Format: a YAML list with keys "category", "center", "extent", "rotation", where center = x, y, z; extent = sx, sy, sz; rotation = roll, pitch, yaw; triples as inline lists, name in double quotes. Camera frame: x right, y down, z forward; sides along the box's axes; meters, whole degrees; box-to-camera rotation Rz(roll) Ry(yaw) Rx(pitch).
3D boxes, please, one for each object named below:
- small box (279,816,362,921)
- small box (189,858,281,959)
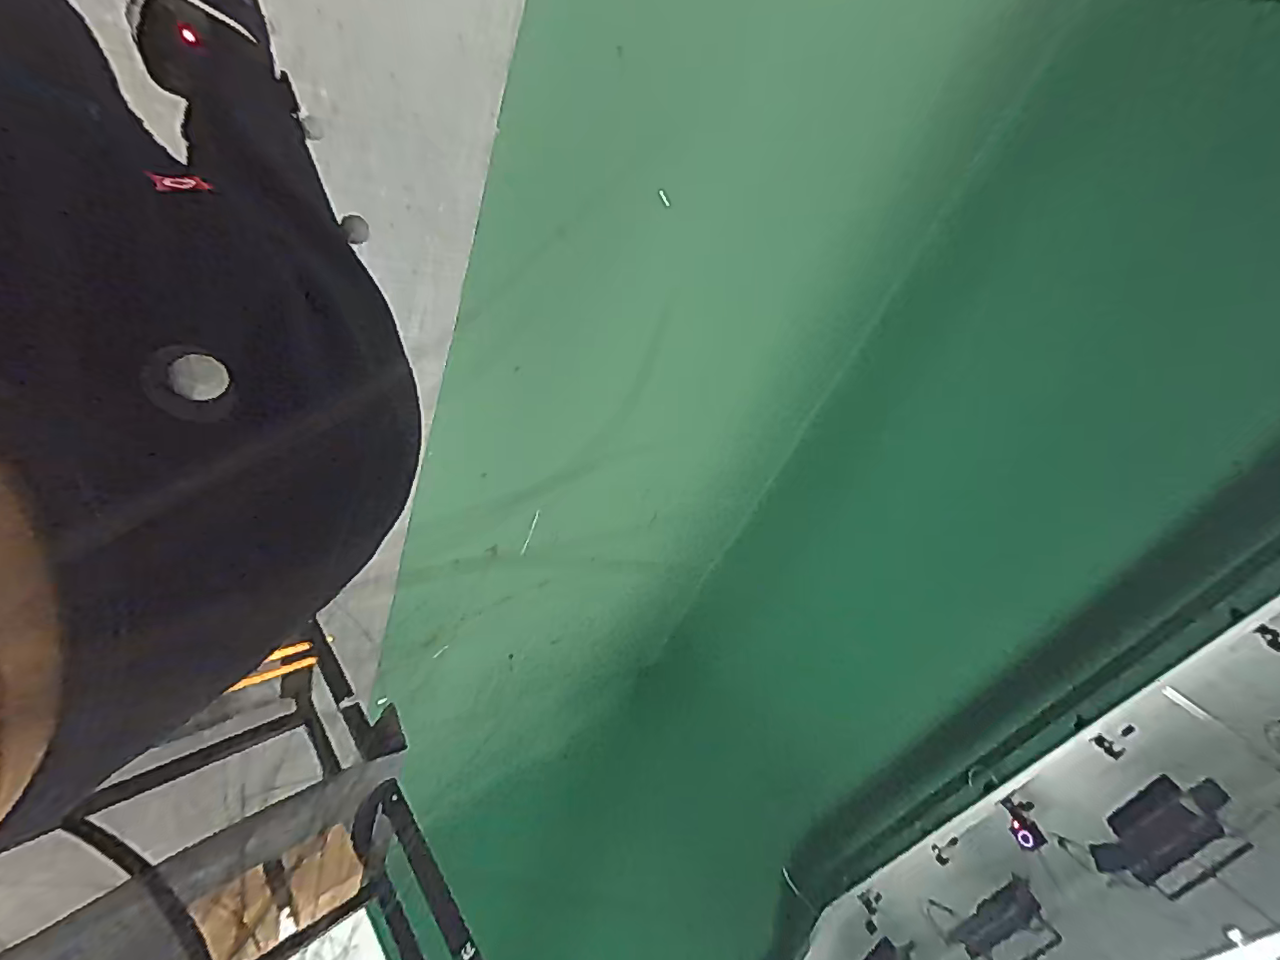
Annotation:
- category: "small box"
  center: [-0.961, 1.155, 1.620]
  extent: [0.168, 0.176, 0.179]
  rotation: [-14, 139, -46]
- category: "small box"
  center: [-1.100, 1.180, 1.469]
  extent: [0.168, 0.176, 0.179]
  rotation: [-13, 138, -46]
